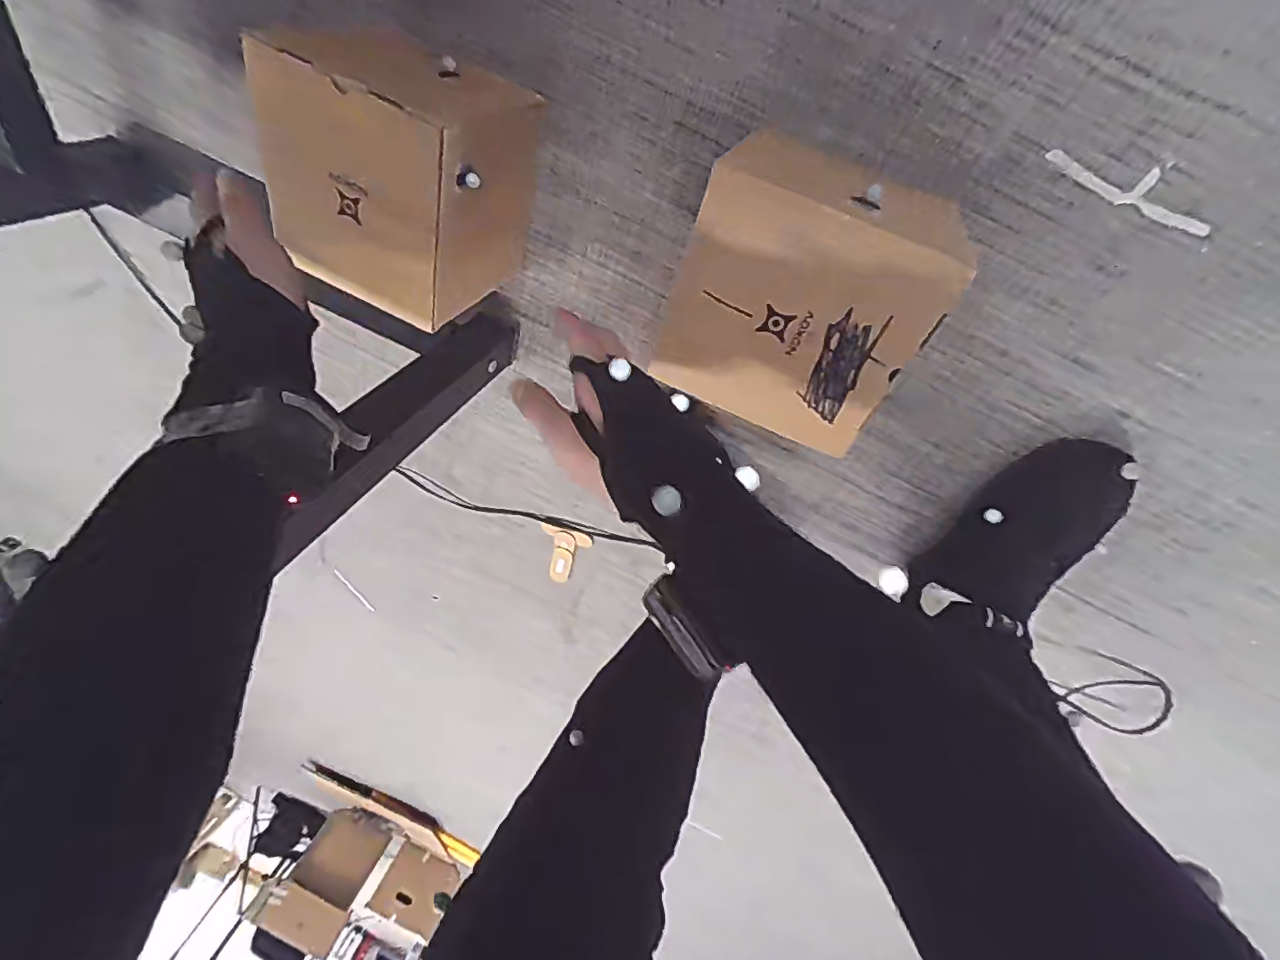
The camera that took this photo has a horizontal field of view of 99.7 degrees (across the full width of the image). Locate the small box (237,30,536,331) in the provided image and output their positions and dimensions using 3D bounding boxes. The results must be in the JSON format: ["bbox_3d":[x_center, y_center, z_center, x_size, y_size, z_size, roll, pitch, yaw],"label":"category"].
[{"bbox_3d":[-0.214,-0.276,0.499,0.168,0.176,0.179,26,133,3],"label":"small box"}]
